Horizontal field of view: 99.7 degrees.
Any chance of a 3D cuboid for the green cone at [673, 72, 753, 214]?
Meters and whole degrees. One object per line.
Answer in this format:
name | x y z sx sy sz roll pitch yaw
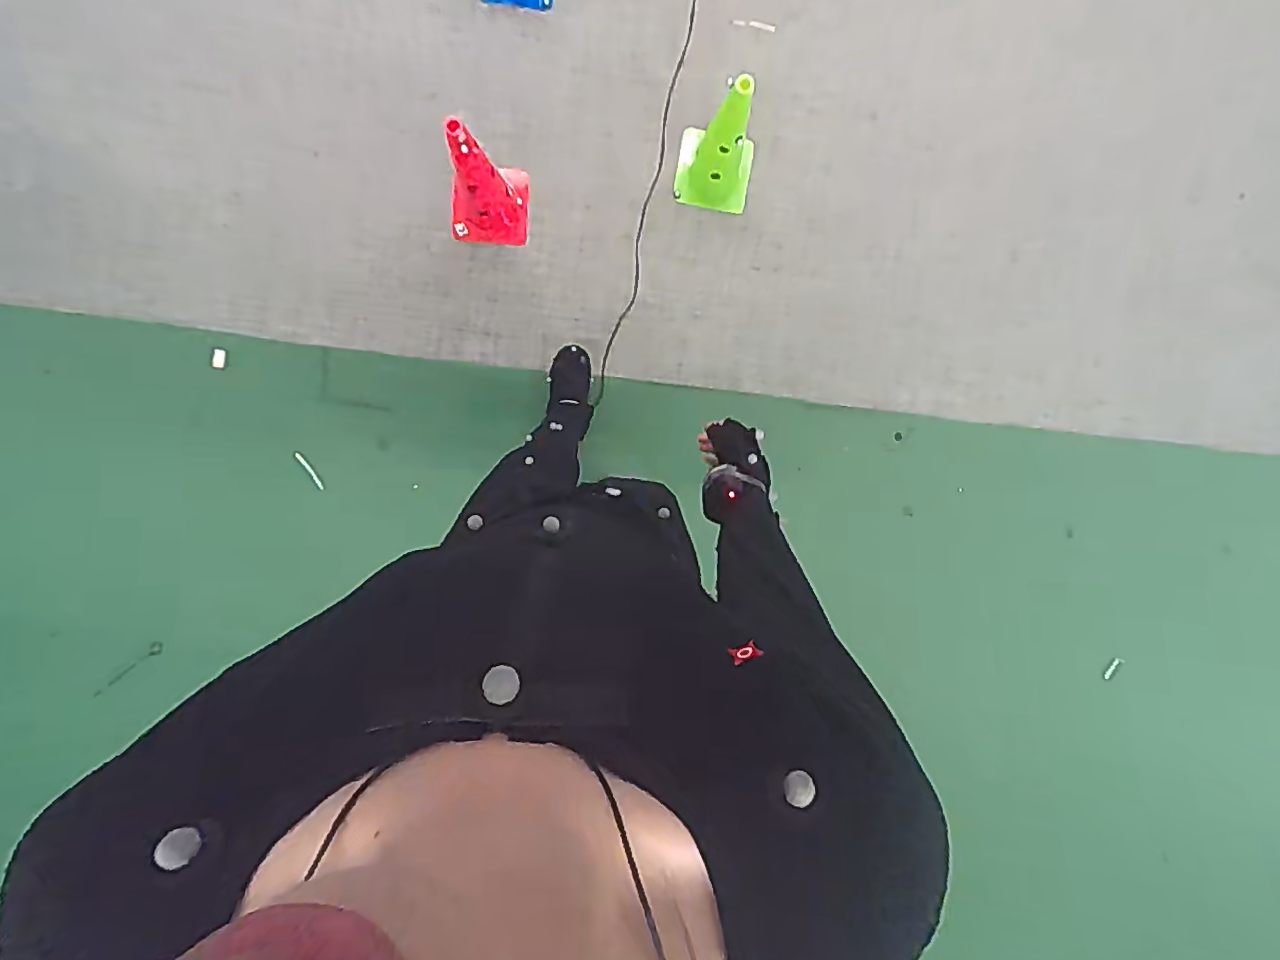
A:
green cone | 0.209 -0.833 1.304 0.200 0.368 0.202 8 91 -4
